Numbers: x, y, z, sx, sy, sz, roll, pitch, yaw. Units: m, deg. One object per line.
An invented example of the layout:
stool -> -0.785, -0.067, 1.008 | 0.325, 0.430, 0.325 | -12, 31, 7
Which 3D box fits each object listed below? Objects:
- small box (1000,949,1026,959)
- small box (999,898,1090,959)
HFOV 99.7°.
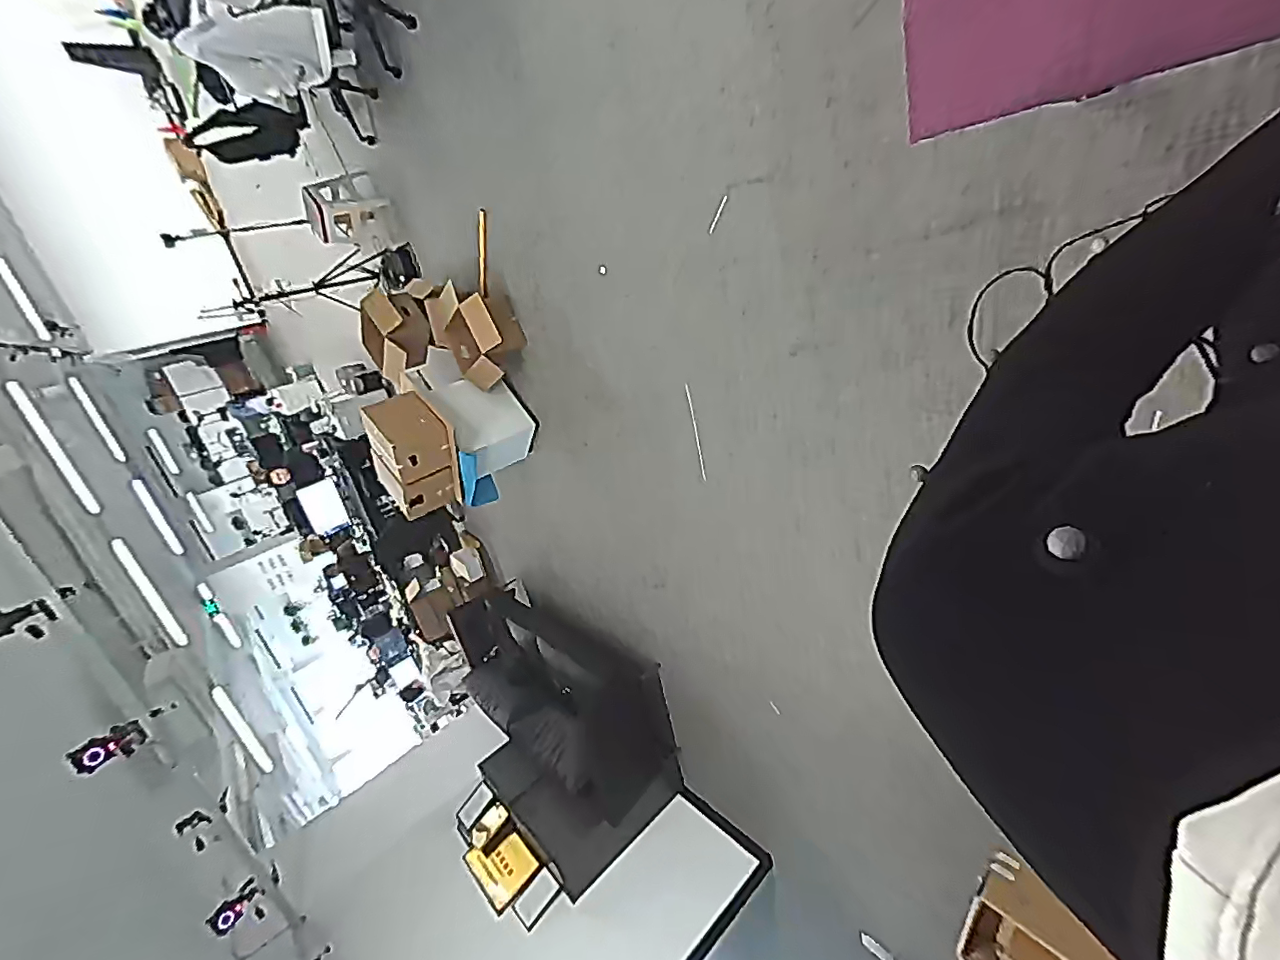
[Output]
small box -> 1.048, 1.450, 1.473 | 0.168, 0.176, 0.179 | 23, 131, 42
small box -> 1.165, 1.375, 1.562 | 0.168, 0.176, 0.179 | 21, 129, 43
